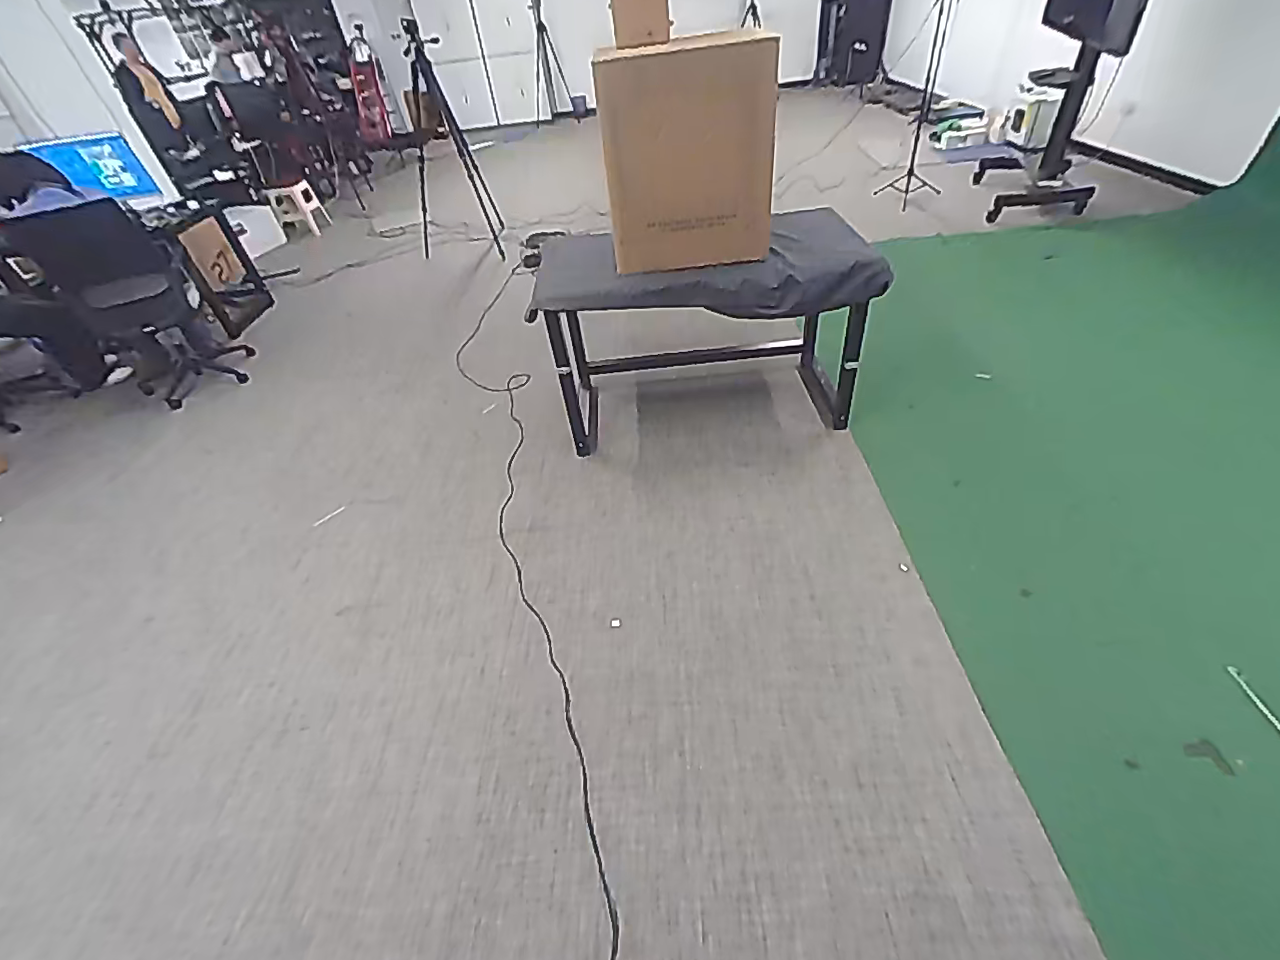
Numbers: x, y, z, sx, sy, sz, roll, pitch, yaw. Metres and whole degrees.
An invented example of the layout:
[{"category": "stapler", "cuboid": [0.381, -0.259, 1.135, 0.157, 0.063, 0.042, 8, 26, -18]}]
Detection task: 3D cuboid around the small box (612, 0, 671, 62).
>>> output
[{"category": "small box", "cuboid": [0.004, -1.390, 1.648, 0.168, 0.176, 0.179, -6, 39, 4]}]
